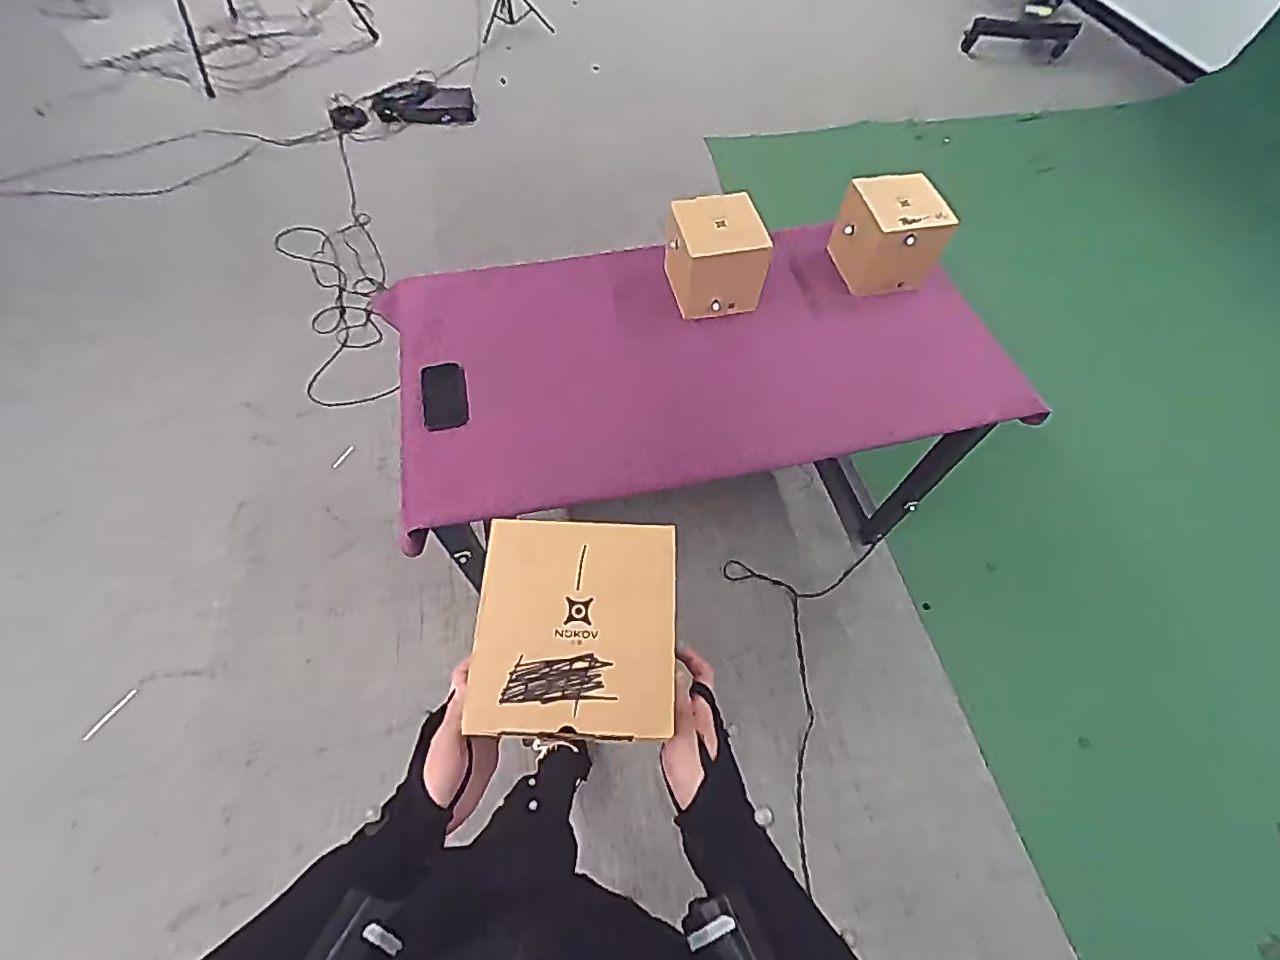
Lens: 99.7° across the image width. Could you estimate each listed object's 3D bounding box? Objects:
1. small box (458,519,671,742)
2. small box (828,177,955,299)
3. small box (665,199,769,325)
[{"bbox_3d":[-0.057,0.150,0.521,0.168,0.176,0.179,2,65,0],"label":"small box"},{"bbox_3d":[0.533,-0.523,1.177,0.168,0.176,0.179,-10,60,-5],"label":"small box"},{"bbox_3d":[0.150,-0.454,1.135,0.168,0.176,0.179,-11,61,-6],"label":"small box"}]
